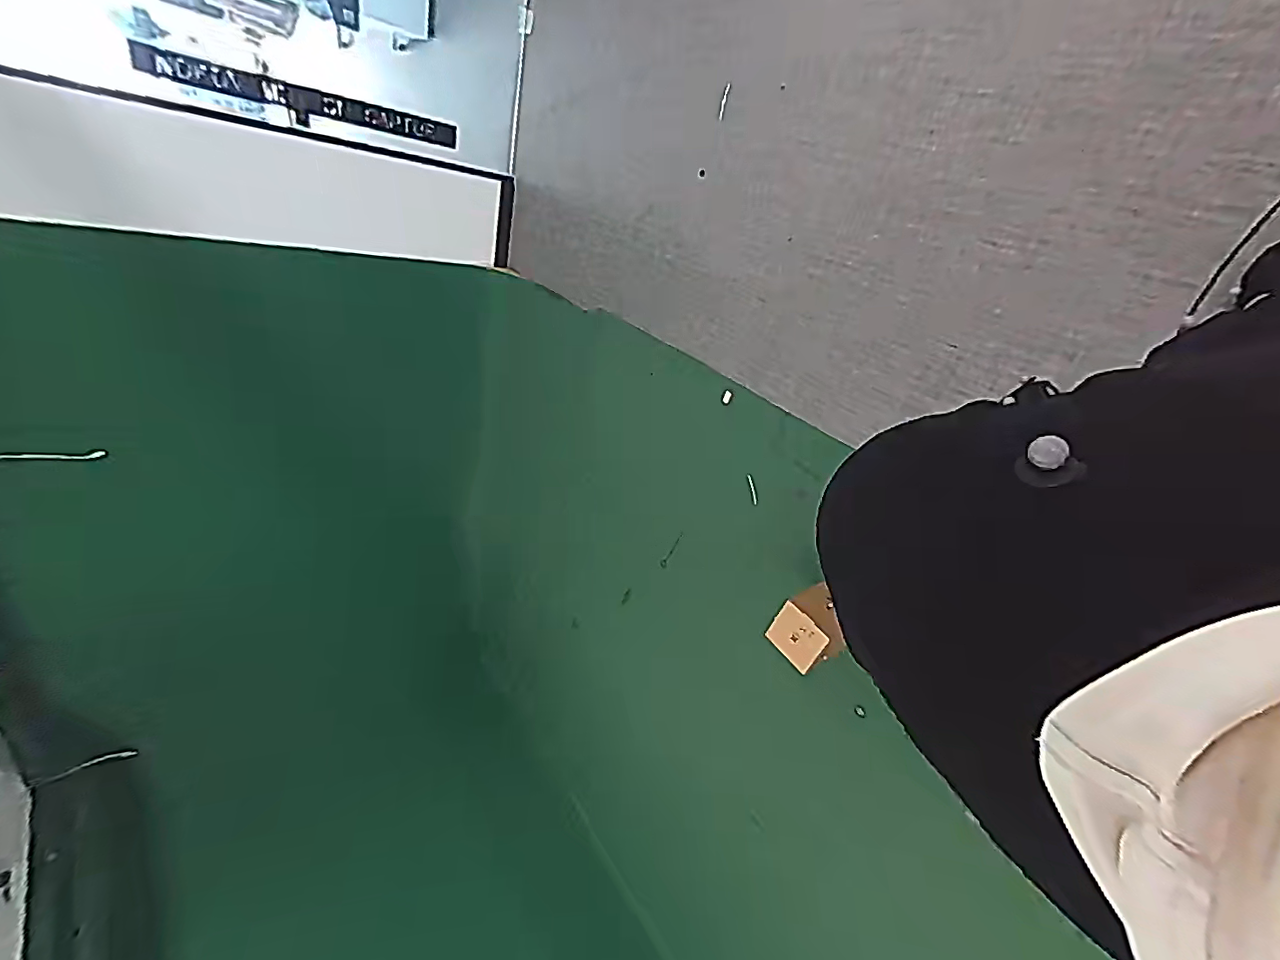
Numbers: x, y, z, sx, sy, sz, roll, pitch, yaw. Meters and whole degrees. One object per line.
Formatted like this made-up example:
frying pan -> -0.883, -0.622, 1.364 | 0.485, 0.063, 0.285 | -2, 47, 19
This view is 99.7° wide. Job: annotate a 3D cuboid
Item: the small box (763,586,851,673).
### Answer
small box -> 0.526, 0.462, 1.693 | 0.168, 0.176, 0.179 | 45, 129, 33
